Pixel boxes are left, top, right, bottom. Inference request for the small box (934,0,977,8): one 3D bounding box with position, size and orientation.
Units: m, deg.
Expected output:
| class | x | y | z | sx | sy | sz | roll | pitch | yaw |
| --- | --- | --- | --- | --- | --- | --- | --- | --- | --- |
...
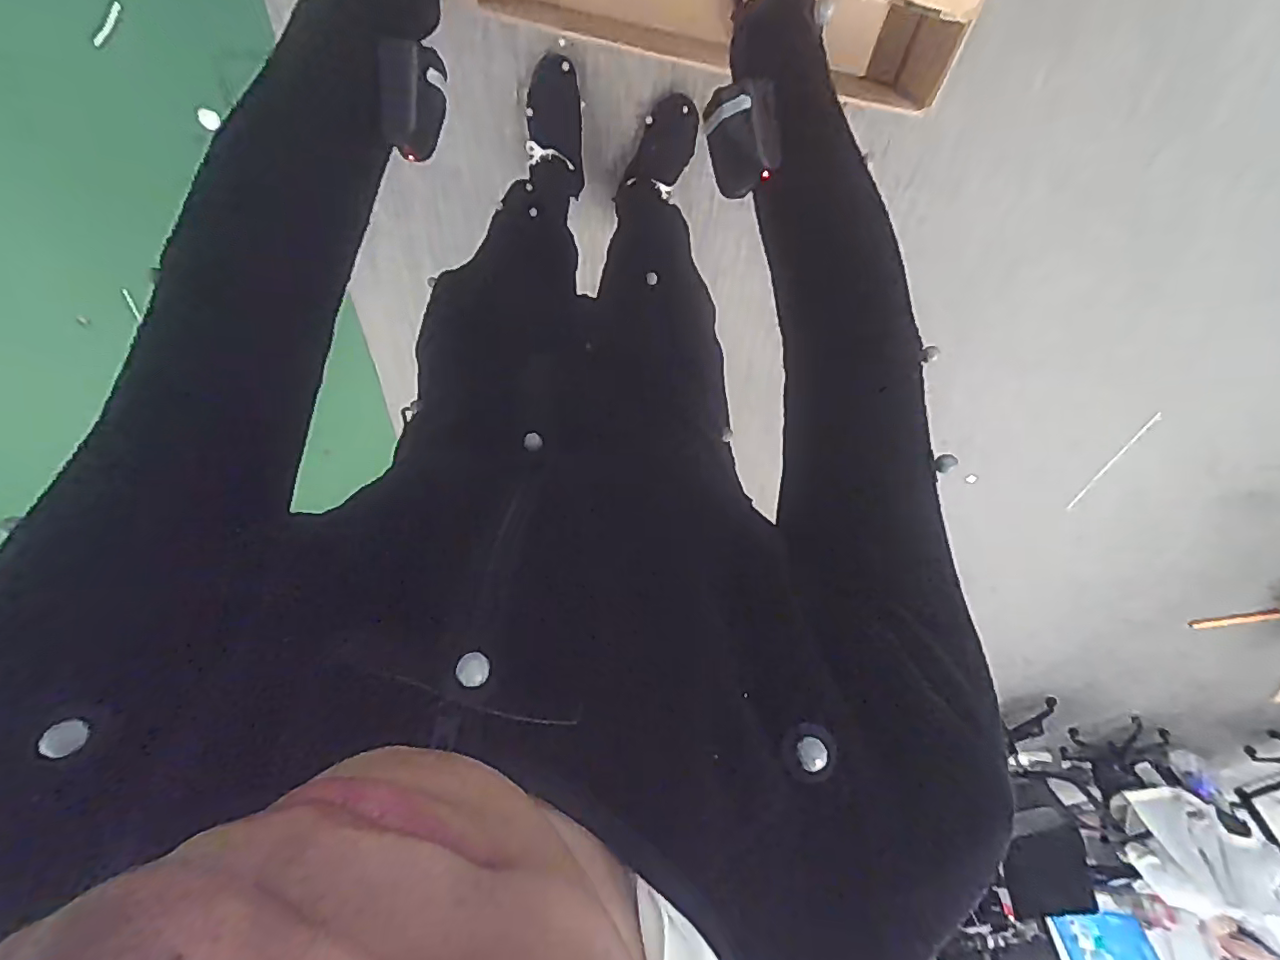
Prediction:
| class | x | y | z | sx | sy | sz | roll | pitch | yaw |
| --- | --- | --- | --- | --- | --- | --- | --- | --- | --- |
| small box | 0.250 | -0.564 | 0.483 | 0.168 | 0.176 | 0.179 | 9 | 135 | -8 |
